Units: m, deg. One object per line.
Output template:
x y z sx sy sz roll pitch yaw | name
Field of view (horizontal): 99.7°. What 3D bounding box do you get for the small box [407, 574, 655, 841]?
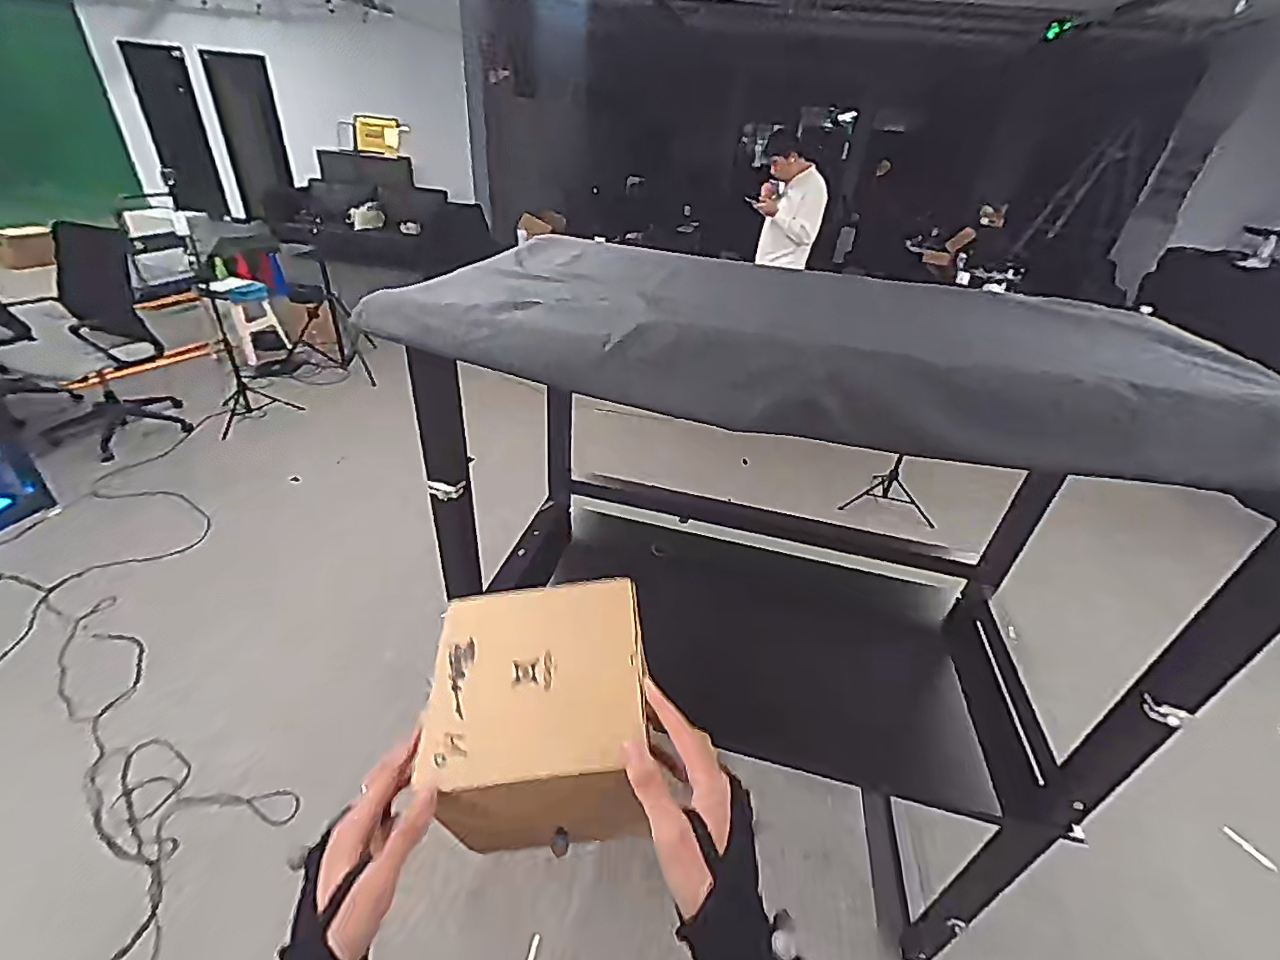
-0.079 0.207 0.493 0.179 0.176 0.168 -6 43 0 | small box
